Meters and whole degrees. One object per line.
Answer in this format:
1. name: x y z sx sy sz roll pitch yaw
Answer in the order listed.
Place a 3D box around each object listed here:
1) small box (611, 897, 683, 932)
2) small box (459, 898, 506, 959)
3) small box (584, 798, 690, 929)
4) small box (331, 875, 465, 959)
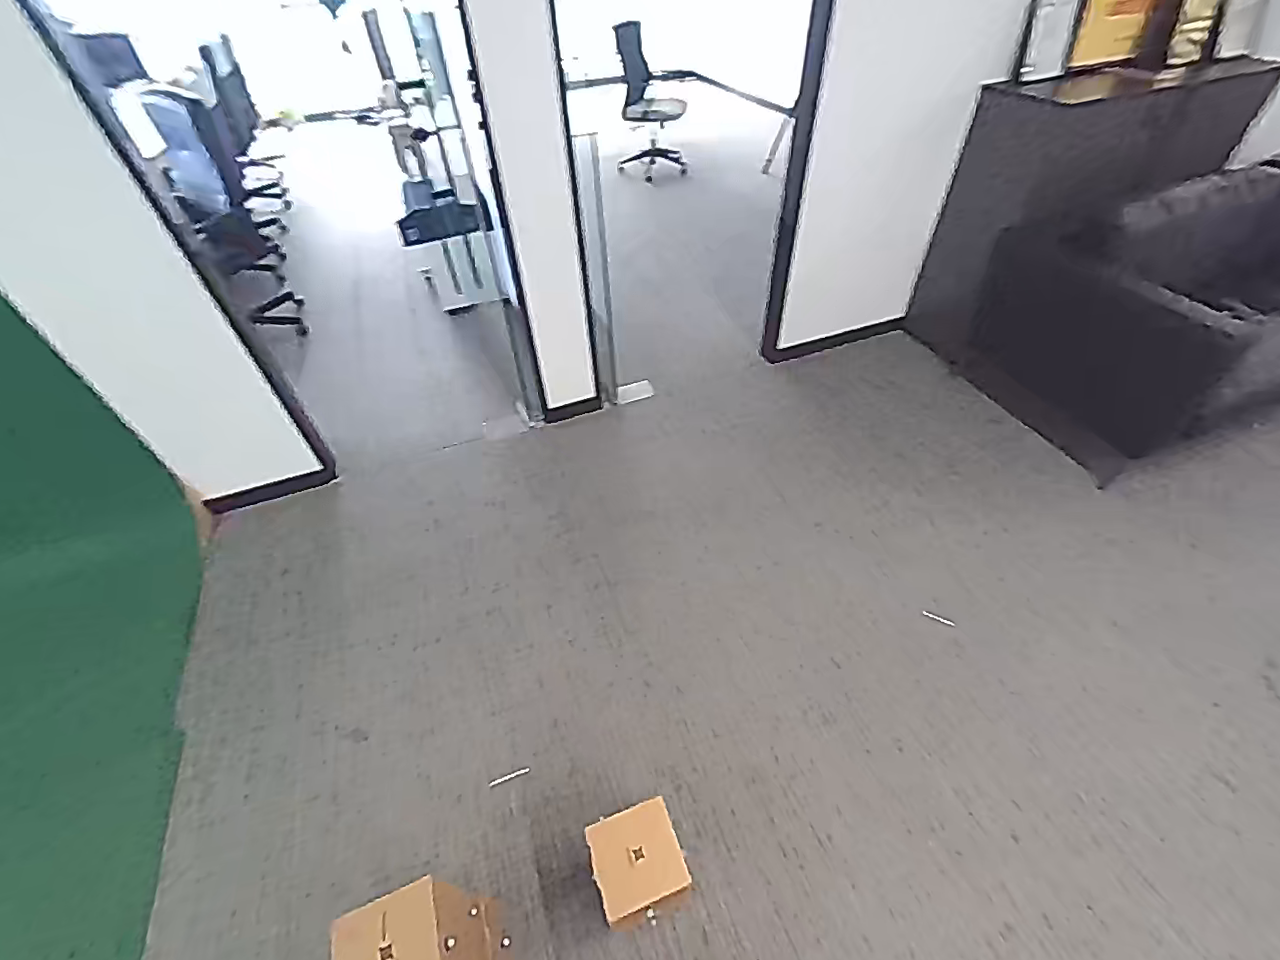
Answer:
1. small box: -0.007 0.920 1.261 0.168 0.176 0.179 -15 47 -13
2. small box: -0.393 1.042 1.160 0.179 0.176 0.168 -16 47 -13
3. small box: -0.007 0.810 1.141 0.179 0.176 0.168 -17 47 -12
4. small box: -0.402 0.819 0.919 0.168 0.176 0.179 -18 46 -14
